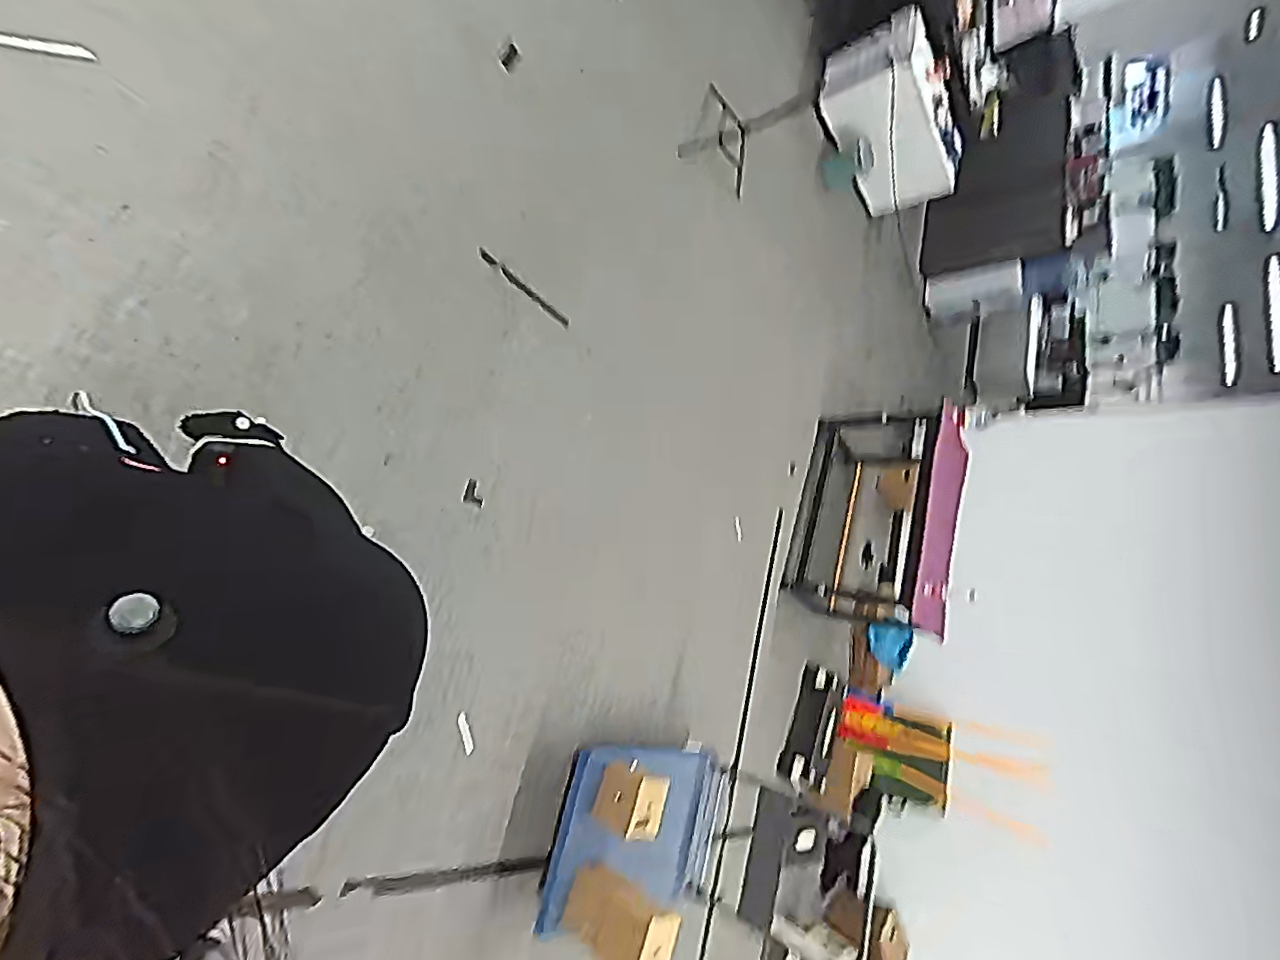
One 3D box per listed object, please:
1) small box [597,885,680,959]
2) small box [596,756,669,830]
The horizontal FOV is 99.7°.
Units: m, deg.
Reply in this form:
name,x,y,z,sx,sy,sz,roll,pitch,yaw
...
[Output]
name,x,y,z,sx,sy,sz,roll,pitch,yaw
small box,-0.007,1.386,1.672,0.168,0.176,0.179,36,66,-42
small box,-0.030,1.087,1.881,0.168,0.176,0.179,35,65,-43
